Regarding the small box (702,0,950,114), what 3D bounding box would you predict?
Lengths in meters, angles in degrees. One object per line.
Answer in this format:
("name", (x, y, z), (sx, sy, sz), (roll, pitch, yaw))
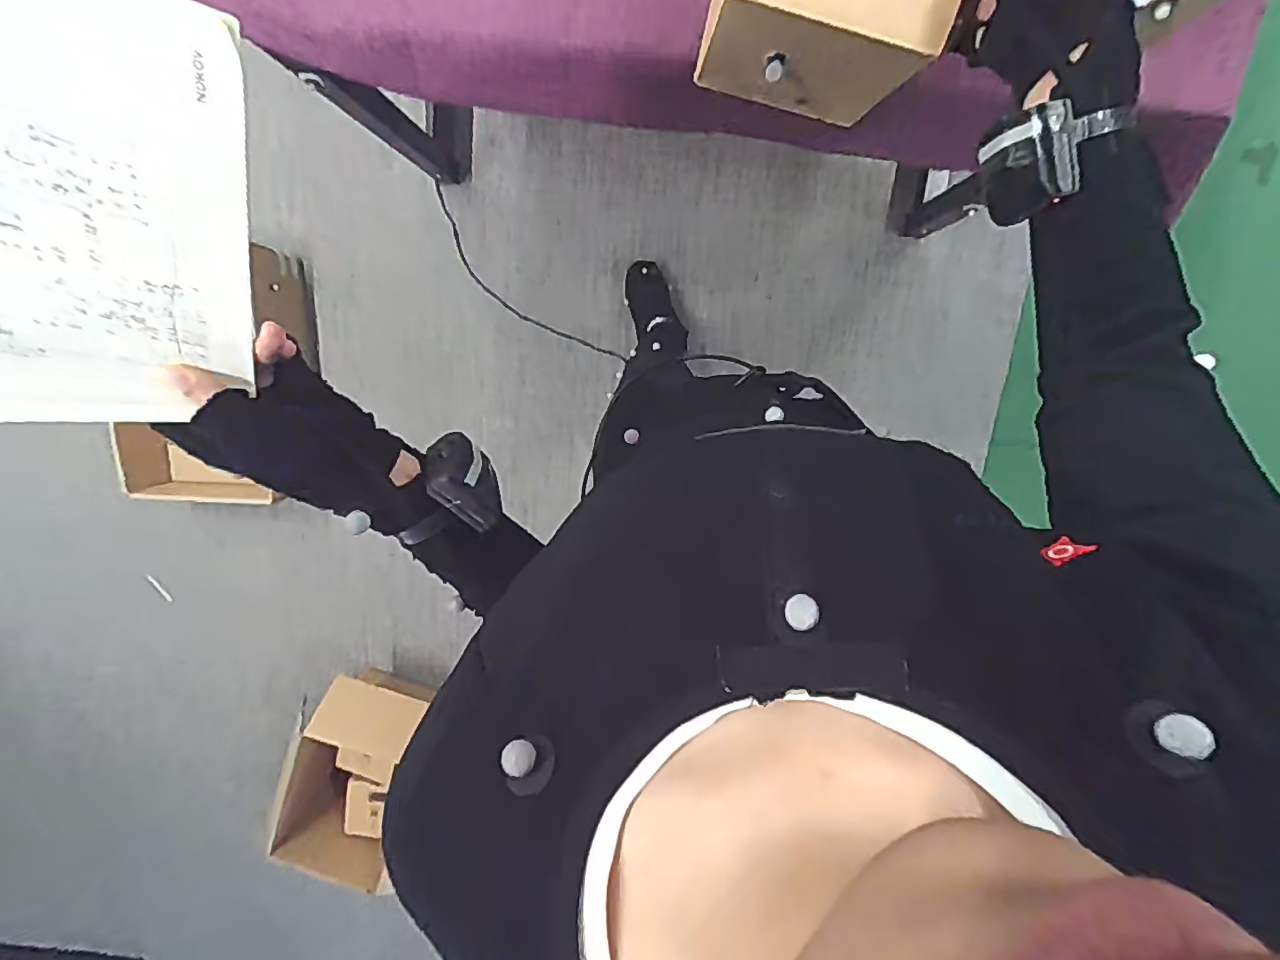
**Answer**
("small box", (0.153, -0.434, 0.438), (0.168, 0.176, 0.179), (11, 106, -5))
